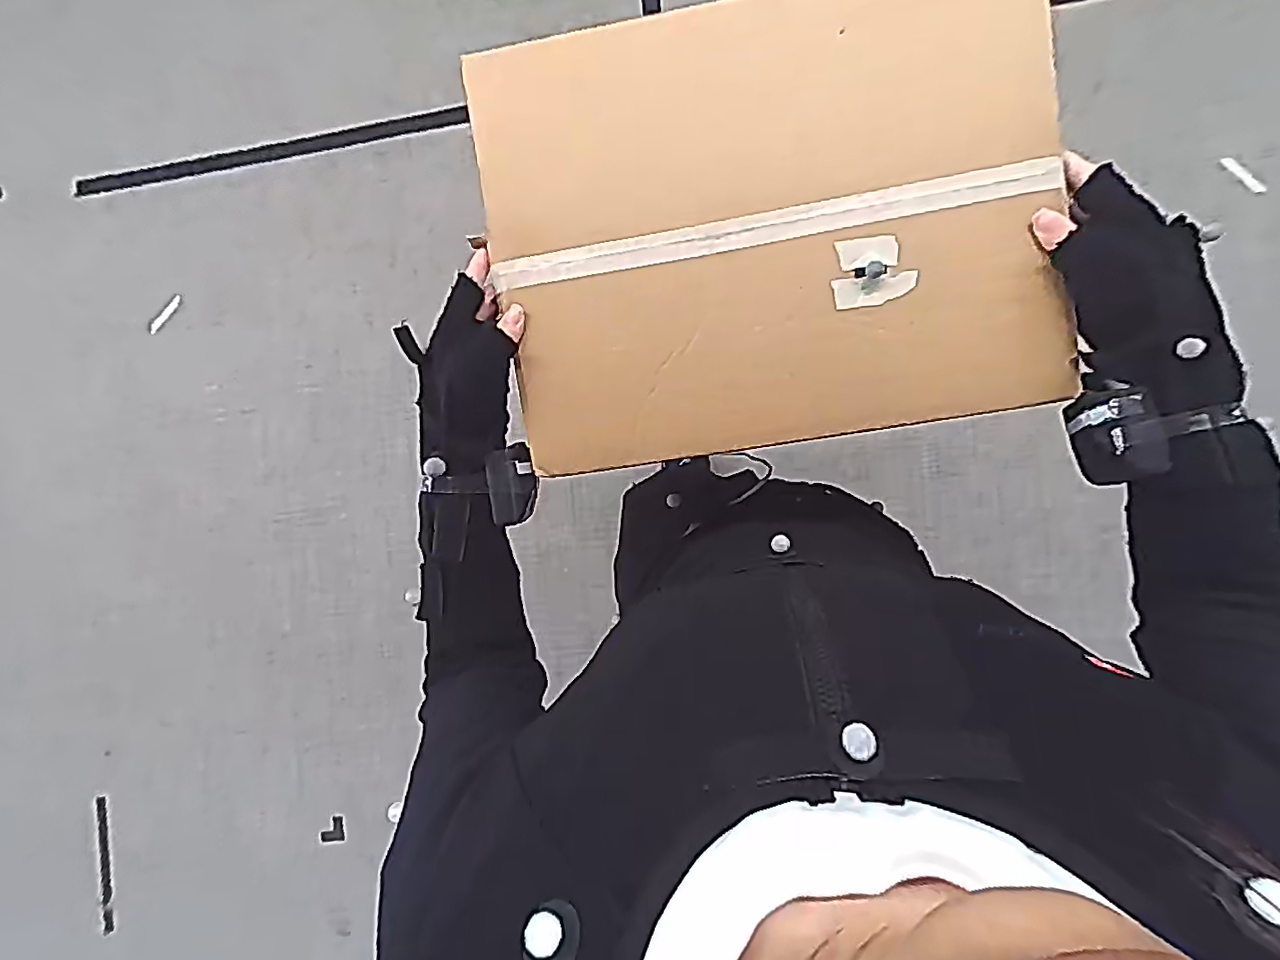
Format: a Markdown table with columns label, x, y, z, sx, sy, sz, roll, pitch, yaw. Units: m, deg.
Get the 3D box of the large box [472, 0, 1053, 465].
| label | x | y | z | sx | sy | sz | roll | pitch | yaw |
| --- | --- | --- | --- | --- | --- | --- | --- | --- | --- |
| large box | 0.098 | -0.209 | 0.553 | 0.408 | 0.320 | 0.320 | -9 | 96 | 4 |
